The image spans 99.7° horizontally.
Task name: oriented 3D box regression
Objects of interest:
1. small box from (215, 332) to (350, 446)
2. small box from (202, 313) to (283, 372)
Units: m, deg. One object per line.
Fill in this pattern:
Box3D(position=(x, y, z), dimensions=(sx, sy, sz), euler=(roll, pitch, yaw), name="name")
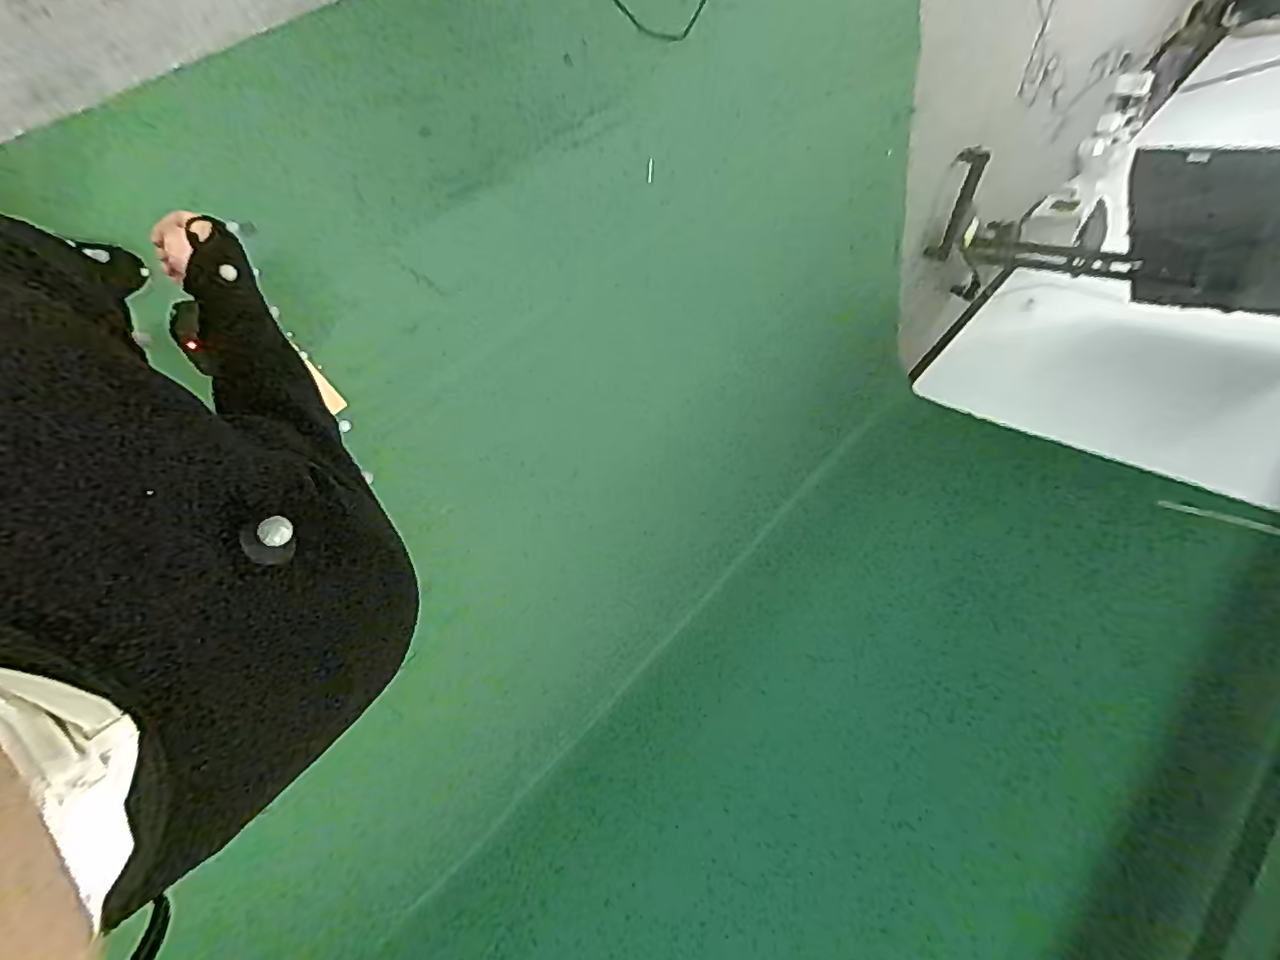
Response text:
Box3D(position=(-0.800, -0.211, 1.208), dimensions=(0.168, 0.176, 0.179), euler=(-43, 139, -18), name="small box")
Box3D(position=(-0.908, -0.278, 1.311), dimensions=(0.168, 0.176, 0.179), euler=(-43, 138, -18), name="small box")
